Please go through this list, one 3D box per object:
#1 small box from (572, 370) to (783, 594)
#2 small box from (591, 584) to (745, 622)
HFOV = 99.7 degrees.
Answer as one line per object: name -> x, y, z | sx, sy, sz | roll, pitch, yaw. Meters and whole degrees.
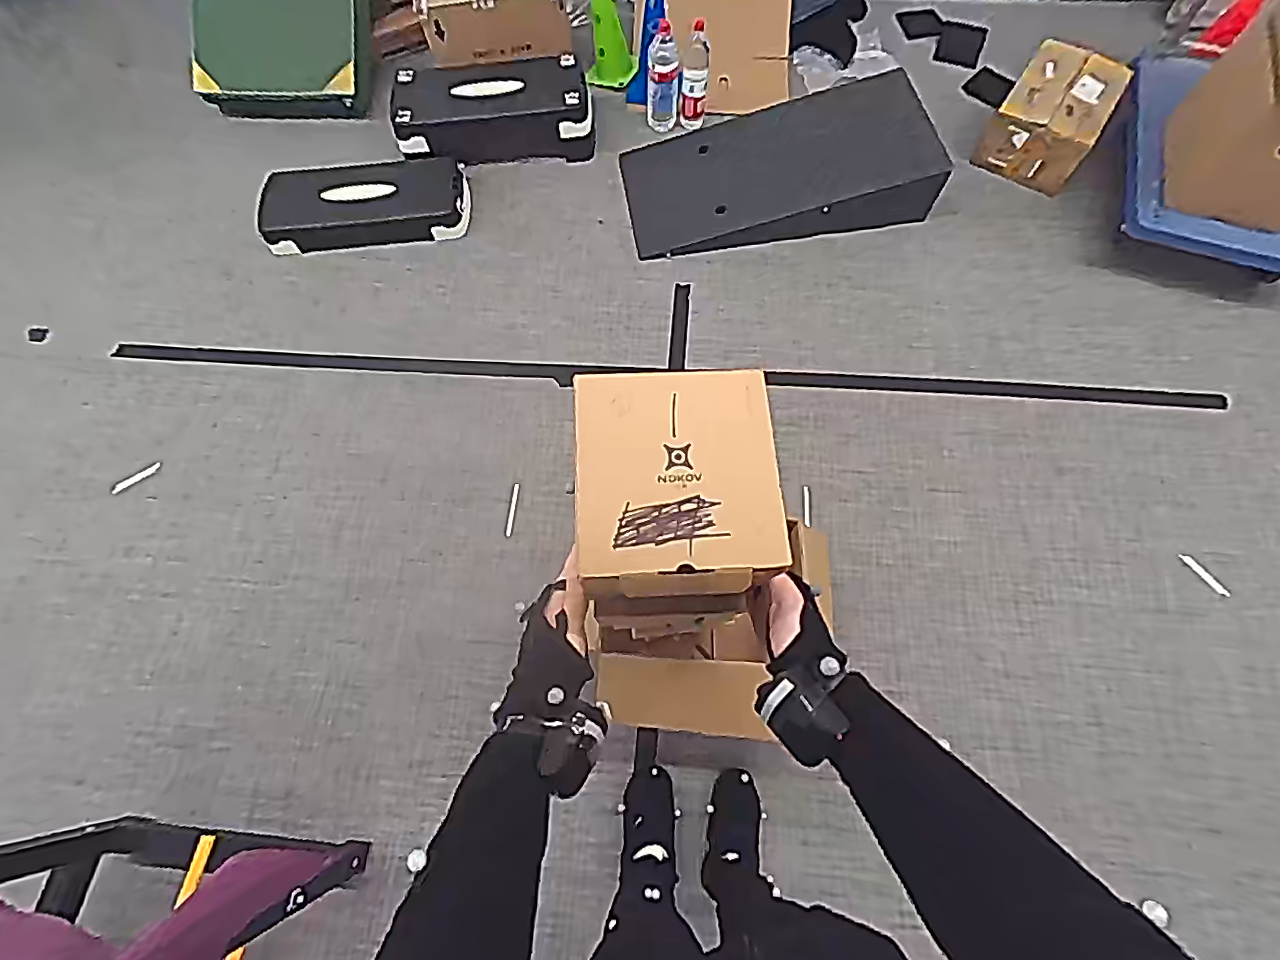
small box -> 0.025, 0.014, 0.514 | 0.168, 0.176, 0.179 | -2, 72, -3
small box -> 0.027, 0.082, 0.664 | 0.168, 0.176, 0.179 | -1, 72, -3
